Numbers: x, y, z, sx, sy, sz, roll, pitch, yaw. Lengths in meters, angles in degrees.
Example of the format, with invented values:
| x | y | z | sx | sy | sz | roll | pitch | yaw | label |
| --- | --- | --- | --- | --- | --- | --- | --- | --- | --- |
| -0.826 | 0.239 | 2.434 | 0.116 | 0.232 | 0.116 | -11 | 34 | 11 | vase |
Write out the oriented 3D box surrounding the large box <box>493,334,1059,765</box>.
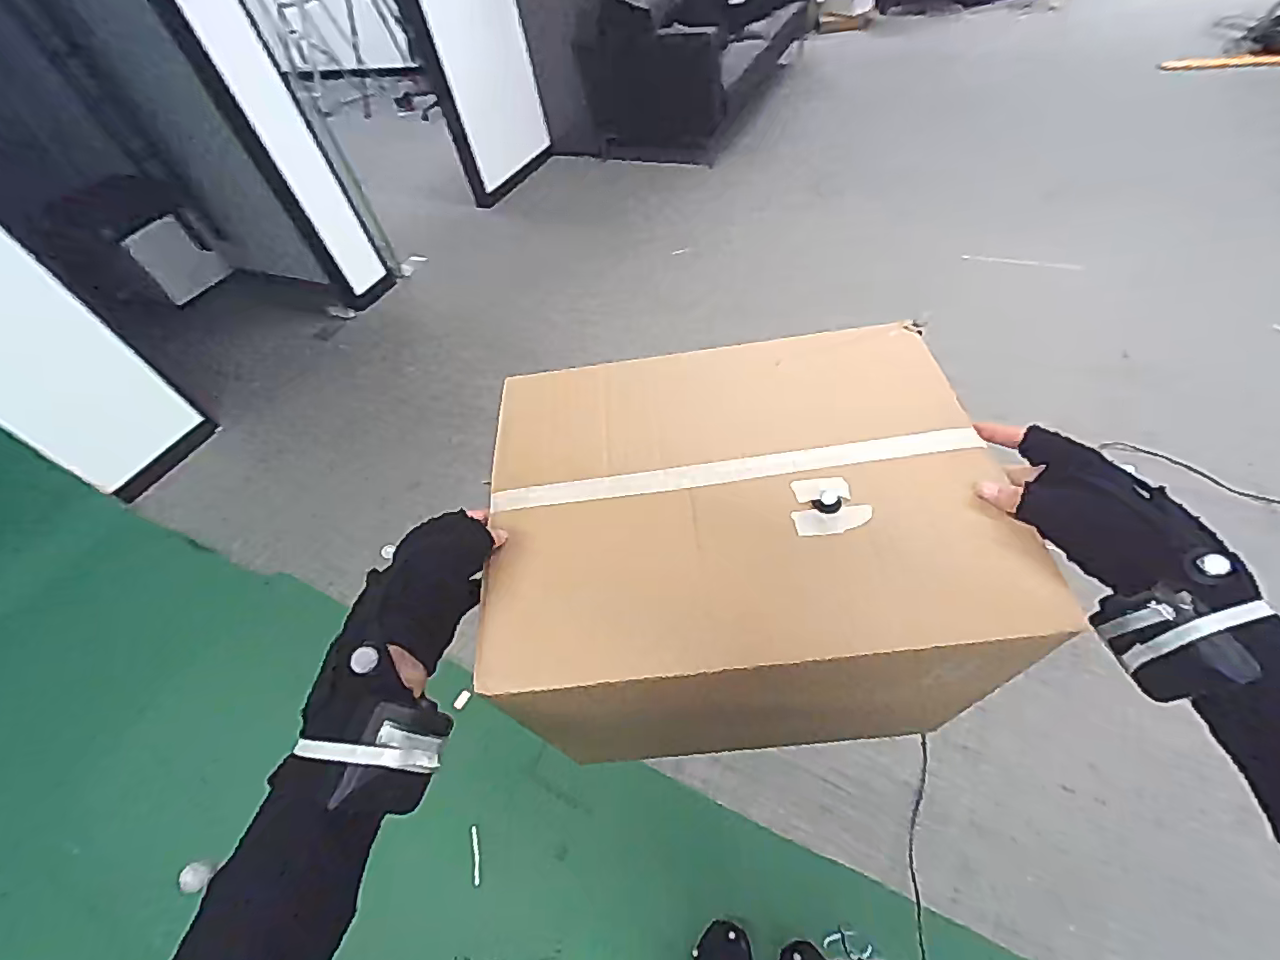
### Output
| x | y | z | sx | sy | sz | roll | pitch | yaw | label |
| --- | --- | --- | --- | --- | --- | --- | --- | --- | --- |
| 0.095 | 0.091 | 0.580 | 0.408 | 0.320 | 0.320 | -8 | 54 | 4 | large box |
